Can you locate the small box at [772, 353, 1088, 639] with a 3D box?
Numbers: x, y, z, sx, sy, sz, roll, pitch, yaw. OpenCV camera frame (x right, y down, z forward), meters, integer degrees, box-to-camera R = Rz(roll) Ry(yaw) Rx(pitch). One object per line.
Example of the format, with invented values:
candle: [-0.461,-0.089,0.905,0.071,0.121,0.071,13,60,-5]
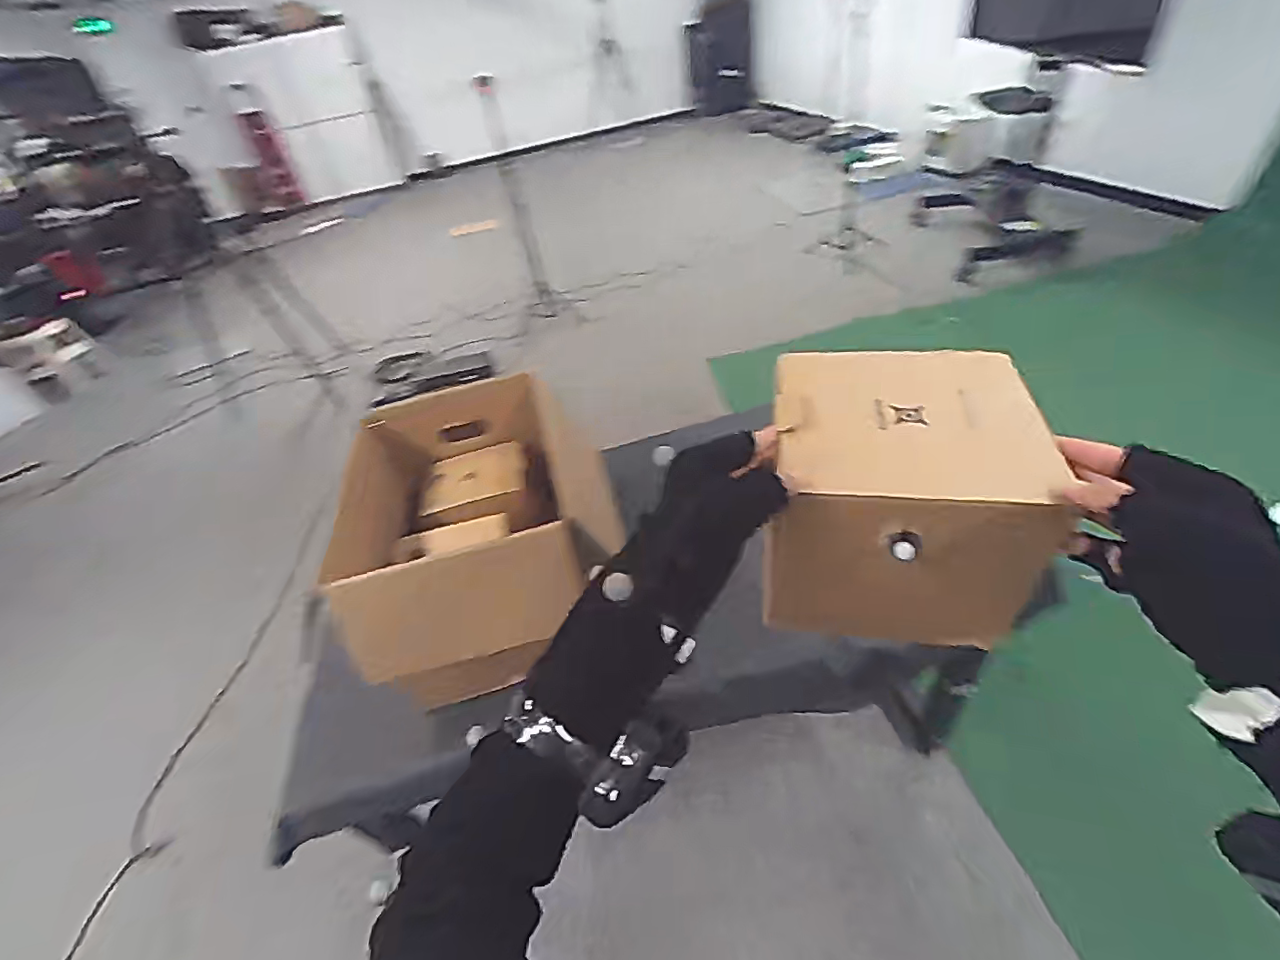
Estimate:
small box: [0.203,0.012,0.444,0.179,0.176,0.168,4,46,11]
